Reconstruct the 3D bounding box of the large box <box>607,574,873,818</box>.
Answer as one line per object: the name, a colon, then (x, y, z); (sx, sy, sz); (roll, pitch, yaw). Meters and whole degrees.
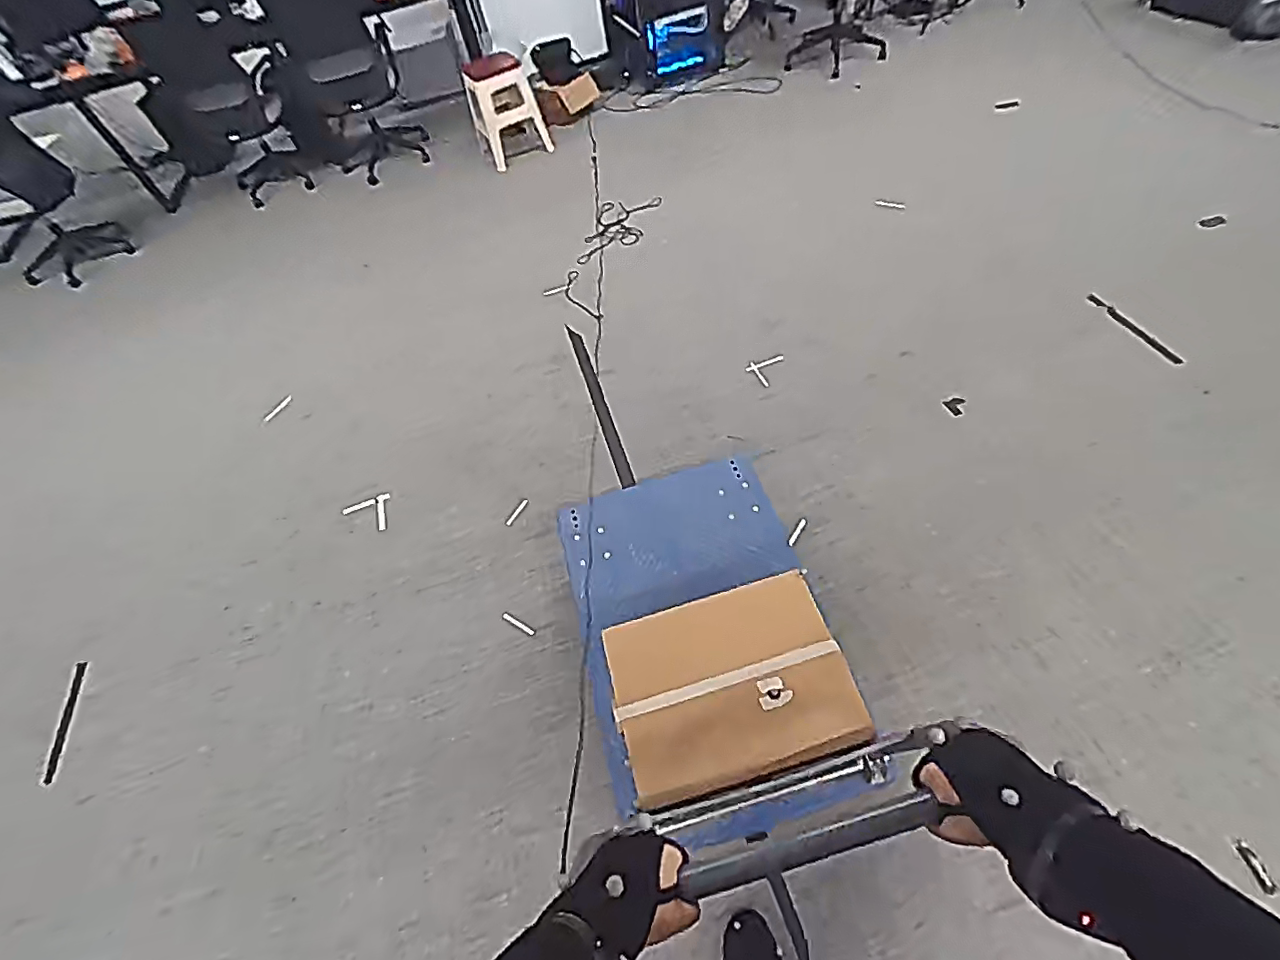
large box: (0.182, 0.445, 1.095); (0.408, 0.320, 0.320); (-17, 56, -2)
